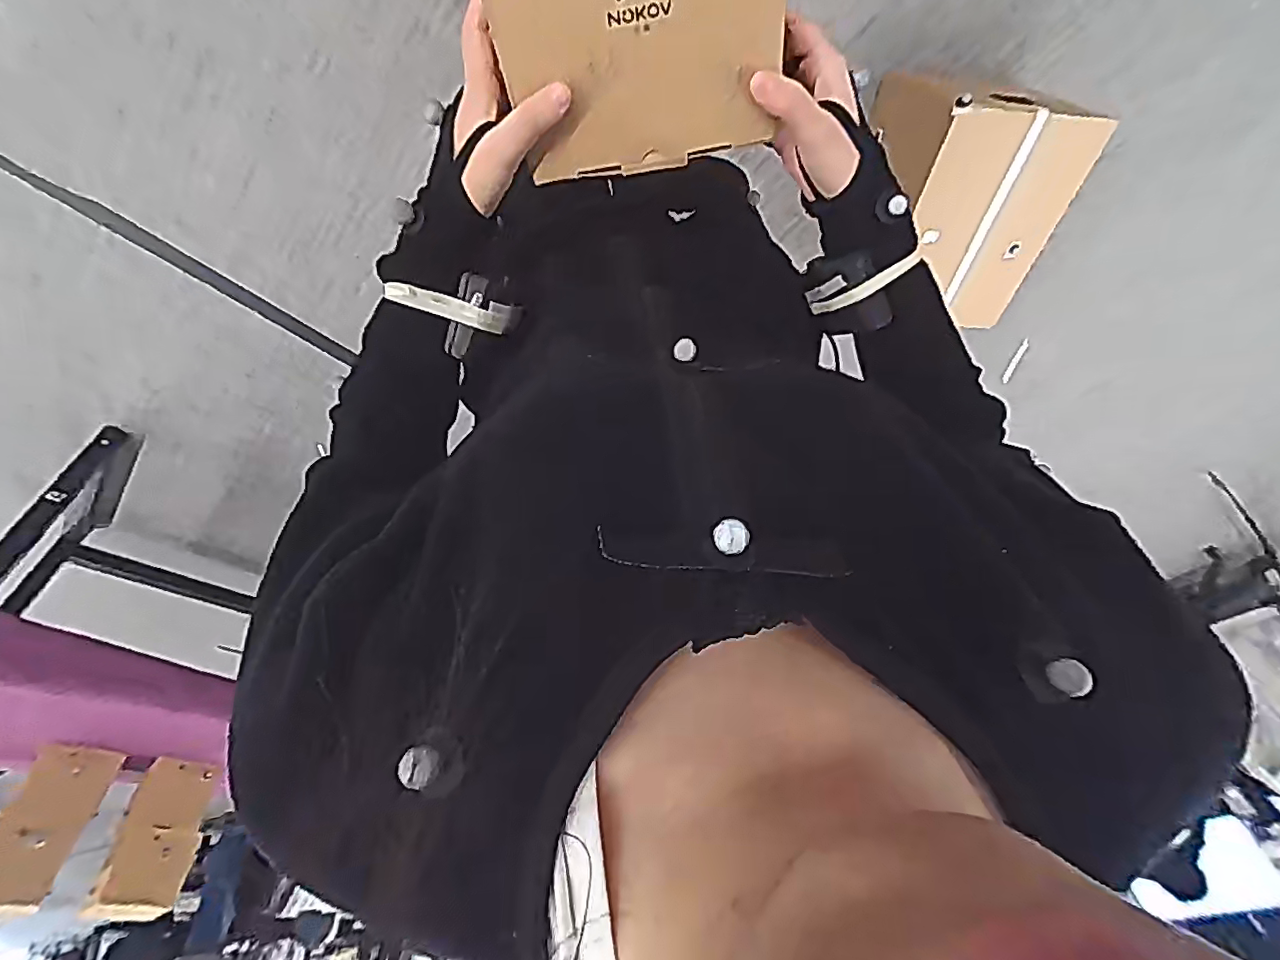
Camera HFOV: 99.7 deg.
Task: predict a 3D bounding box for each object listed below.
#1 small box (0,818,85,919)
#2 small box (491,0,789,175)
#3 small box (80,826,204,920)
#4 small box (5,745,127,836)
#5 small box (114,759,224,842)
[{"bbox_3d":[-1.489,0.930,1.293,0.168,0.176,0.179,29,124,-32],"label":"small box"},{"bbox_3d":[-0.006,-0.329,0.340,0.168,0.176,0.179,-9,141,3],"label":"small box"},{"bbox_3d":[-1.298,1.031,1.420,0.179,0.176,0.168,-37,128,25],"label":"small box"},{"bbox_3d":[-1.496,0.815,1.408,0.168,0.176,0.179,32,123,-34],"label":"small box"},{"bbox_3d":[-1.318,0.907,1.524,0.168,0.176,0.179,32,124,-33],"label":"small box"}]
